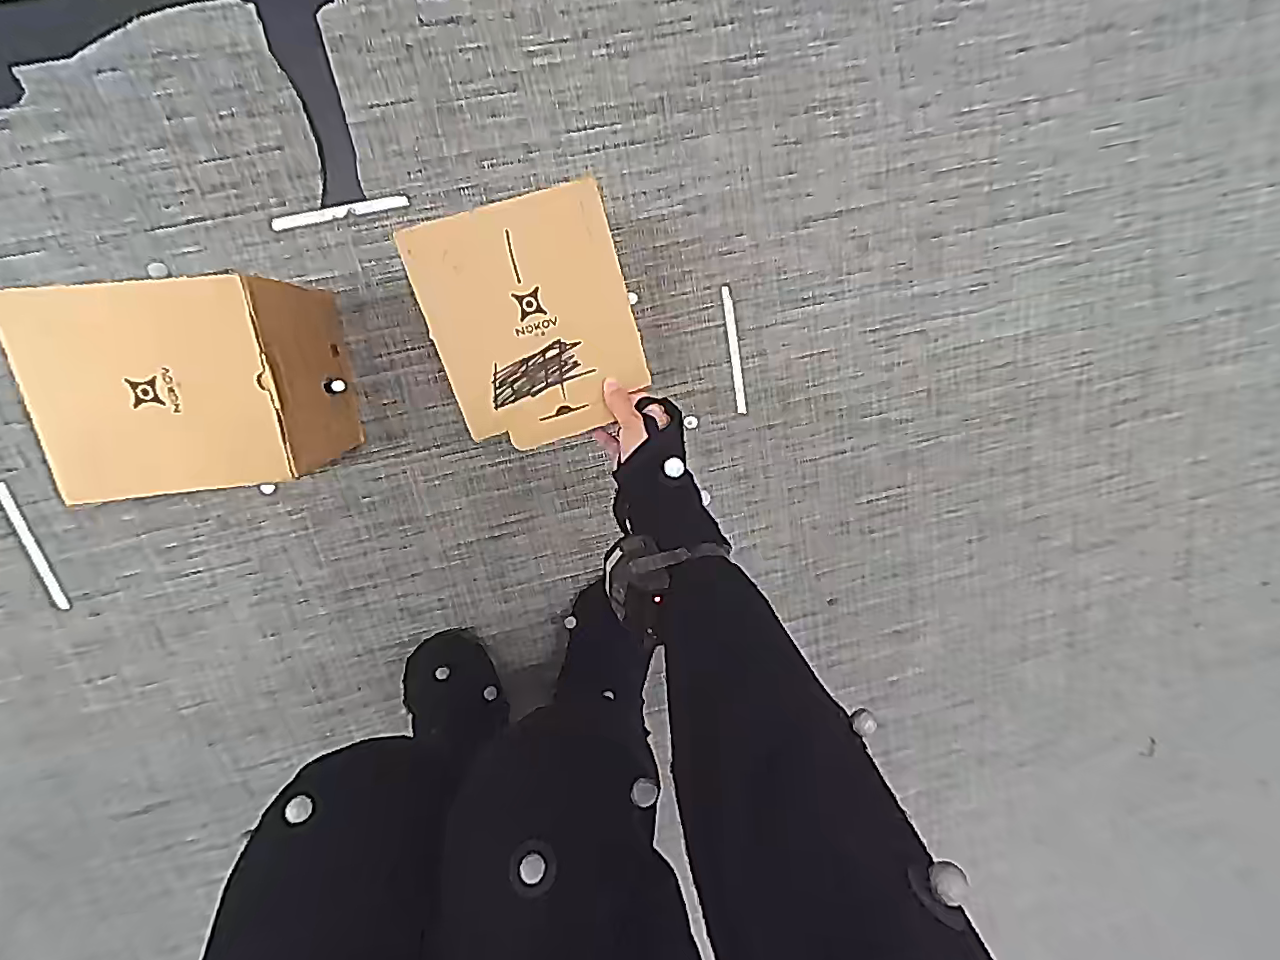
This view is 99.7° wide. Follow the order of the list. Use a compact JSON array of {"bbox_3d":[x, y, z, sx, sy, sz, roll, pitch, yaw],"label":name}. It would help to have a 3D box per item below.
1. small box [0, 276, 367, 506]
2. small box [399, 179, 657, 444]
[{"bbox_3d":[-0.381,-0.085,0.494,0.179,0.176,0.168,-7,105,-7],"label":"small box"},{"bbox_3d":[-0.096,-0.155,0.516,0.168,0.176,0.179,-19,109,-5],"label":"small box"}]
